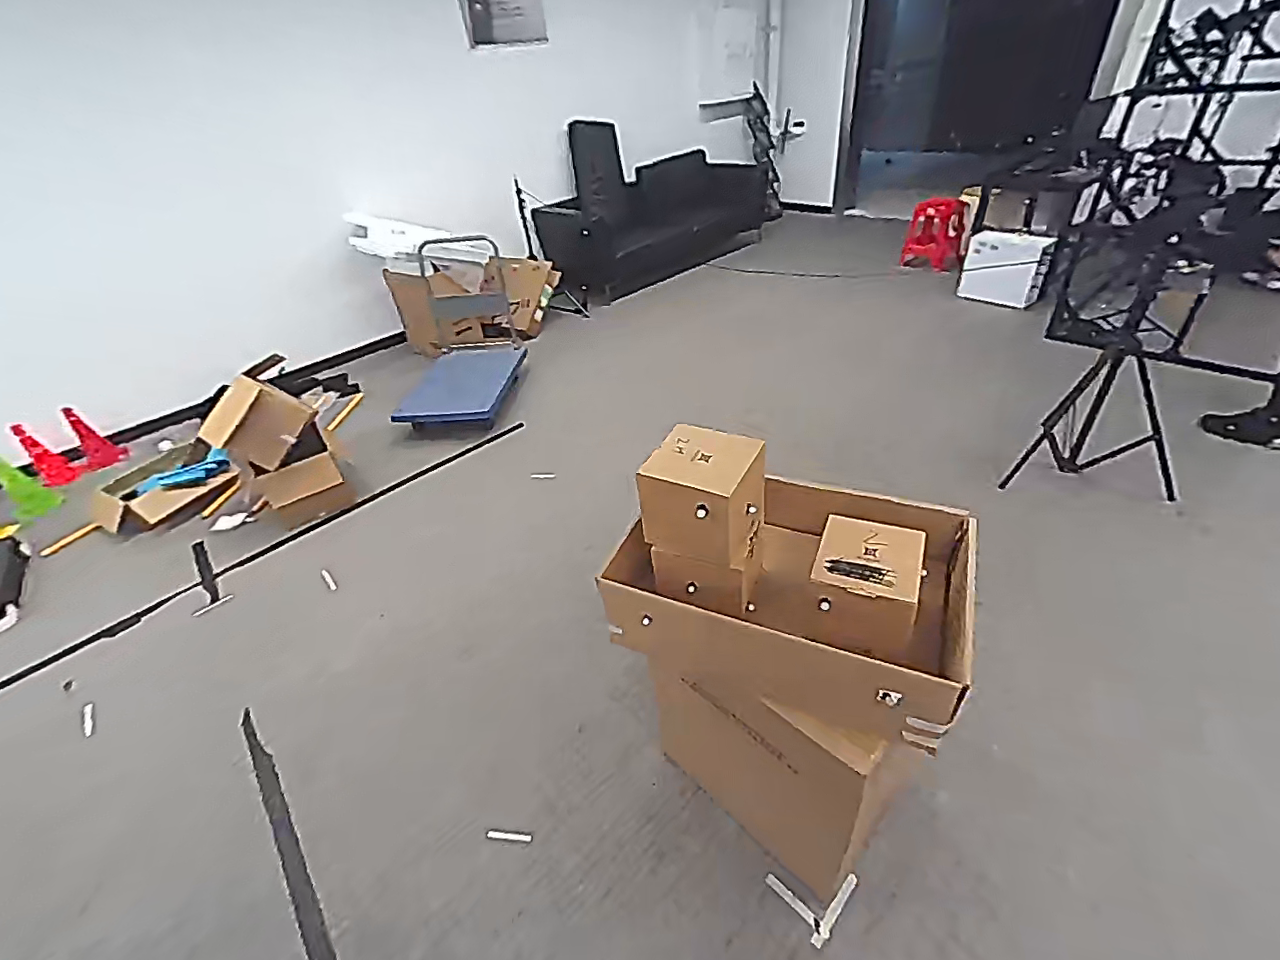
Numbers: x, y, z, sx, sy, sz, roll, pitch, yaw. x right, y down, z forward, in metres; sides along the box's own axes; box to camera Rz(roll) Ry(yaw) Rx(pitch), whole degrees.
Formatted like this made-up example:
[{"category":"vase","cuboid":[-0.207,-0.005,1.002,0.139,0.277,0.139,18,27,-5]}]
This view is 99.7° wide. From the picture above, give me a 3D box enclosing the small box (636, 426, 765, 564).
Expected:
[{"category":"small box","cuboid":[0.115,0.028,0.983,0.179,0.176,0.168,14,43,28]}]
